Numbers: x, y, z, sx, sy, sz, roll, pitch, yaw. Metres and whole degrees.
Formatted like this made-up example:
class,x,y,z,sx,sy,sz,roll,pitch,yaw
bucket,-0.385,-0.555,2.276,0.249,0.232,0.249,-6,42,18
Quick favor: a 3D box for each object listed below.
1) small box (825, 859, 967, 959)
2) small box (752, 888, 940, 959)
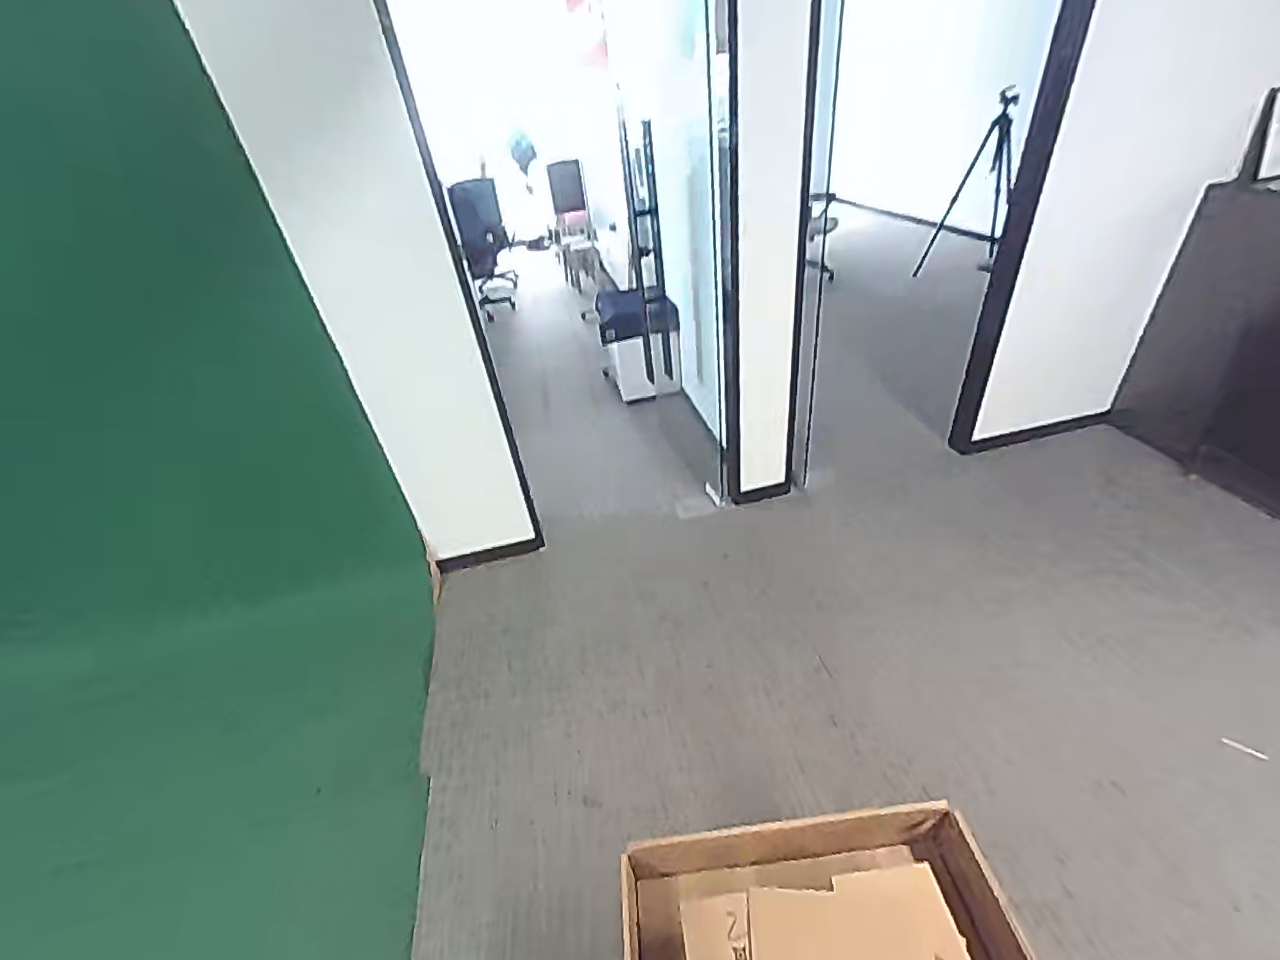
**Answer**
class,x,y,z,sx,sy,sz,roll,pitch,yaw
small box,0.406,0.757,0.880,0.168,0.176,0.179,-8,38,-1
small box,0.197,0.527,0.523,0.168,0.176,0.179,-2,43,9
